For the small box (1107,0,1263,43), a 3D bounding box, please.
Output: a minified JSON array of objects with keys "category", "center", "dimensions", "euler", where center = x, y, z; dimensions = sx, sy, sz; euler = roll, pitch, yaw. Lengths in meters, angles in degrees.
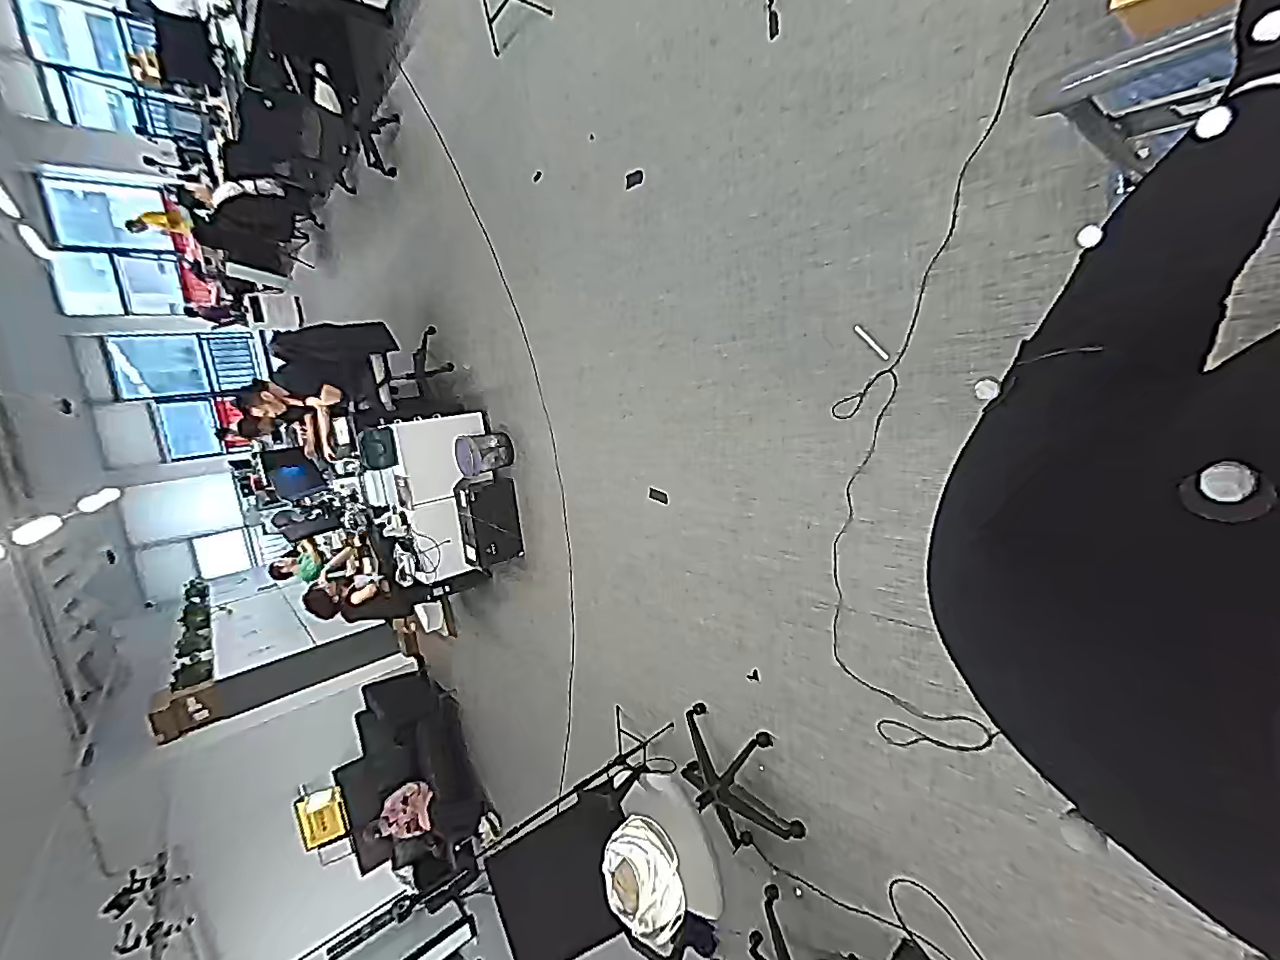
[{"category":"small box","center":[0.820,-0.785,0.787],"dimensions":[0.179,0.176,0.168],"euler":[12,110,47]}]
